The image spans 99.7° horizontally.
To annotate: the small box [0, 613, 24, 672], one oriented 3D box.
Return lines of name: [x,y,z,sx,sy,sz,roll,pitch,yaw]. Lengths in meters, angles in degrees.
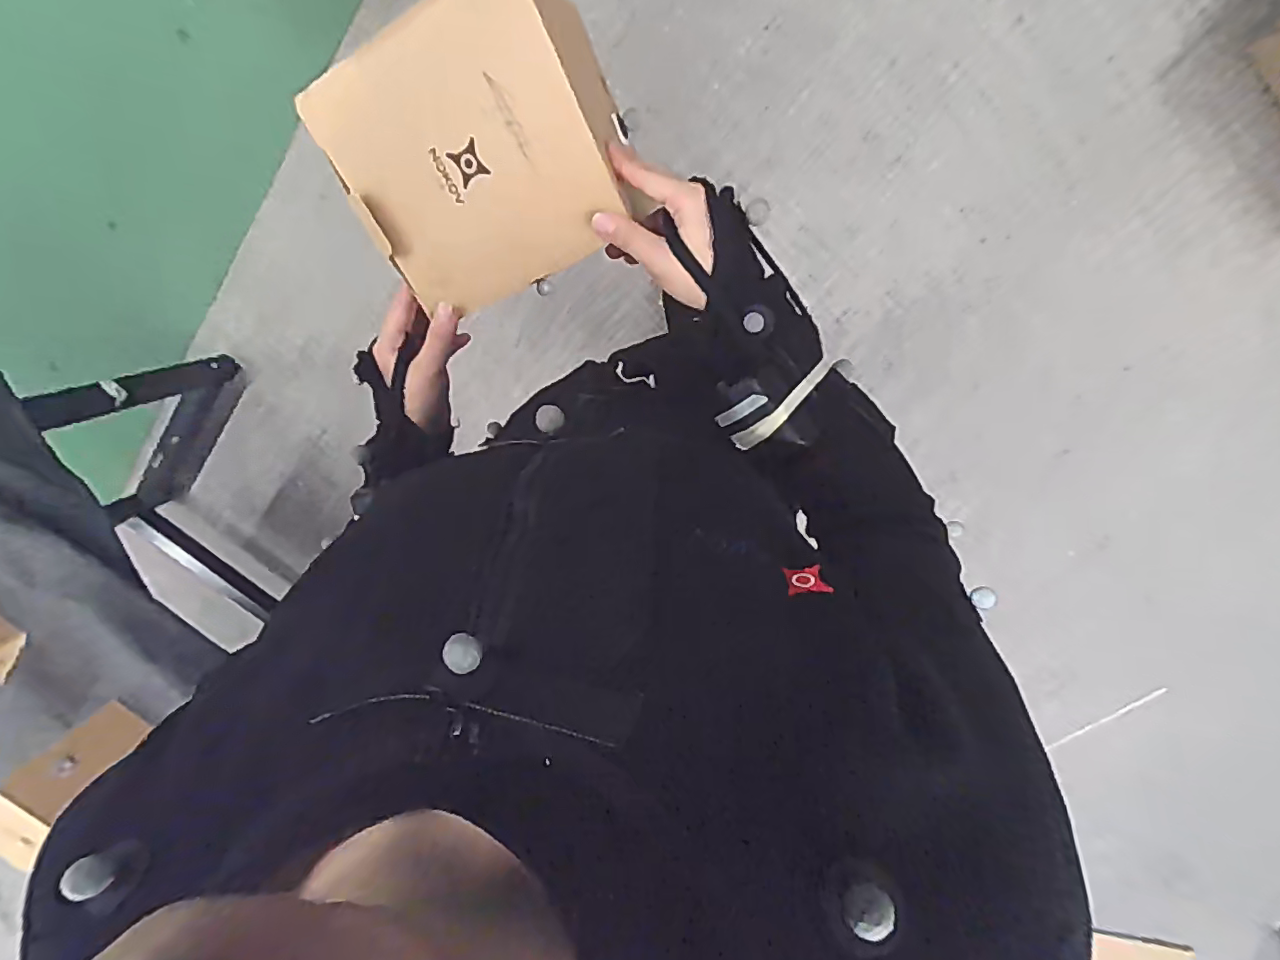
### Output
small box: [-1.095,0.261,0.798,0.179,0.176,0.168,44,113,-11]
